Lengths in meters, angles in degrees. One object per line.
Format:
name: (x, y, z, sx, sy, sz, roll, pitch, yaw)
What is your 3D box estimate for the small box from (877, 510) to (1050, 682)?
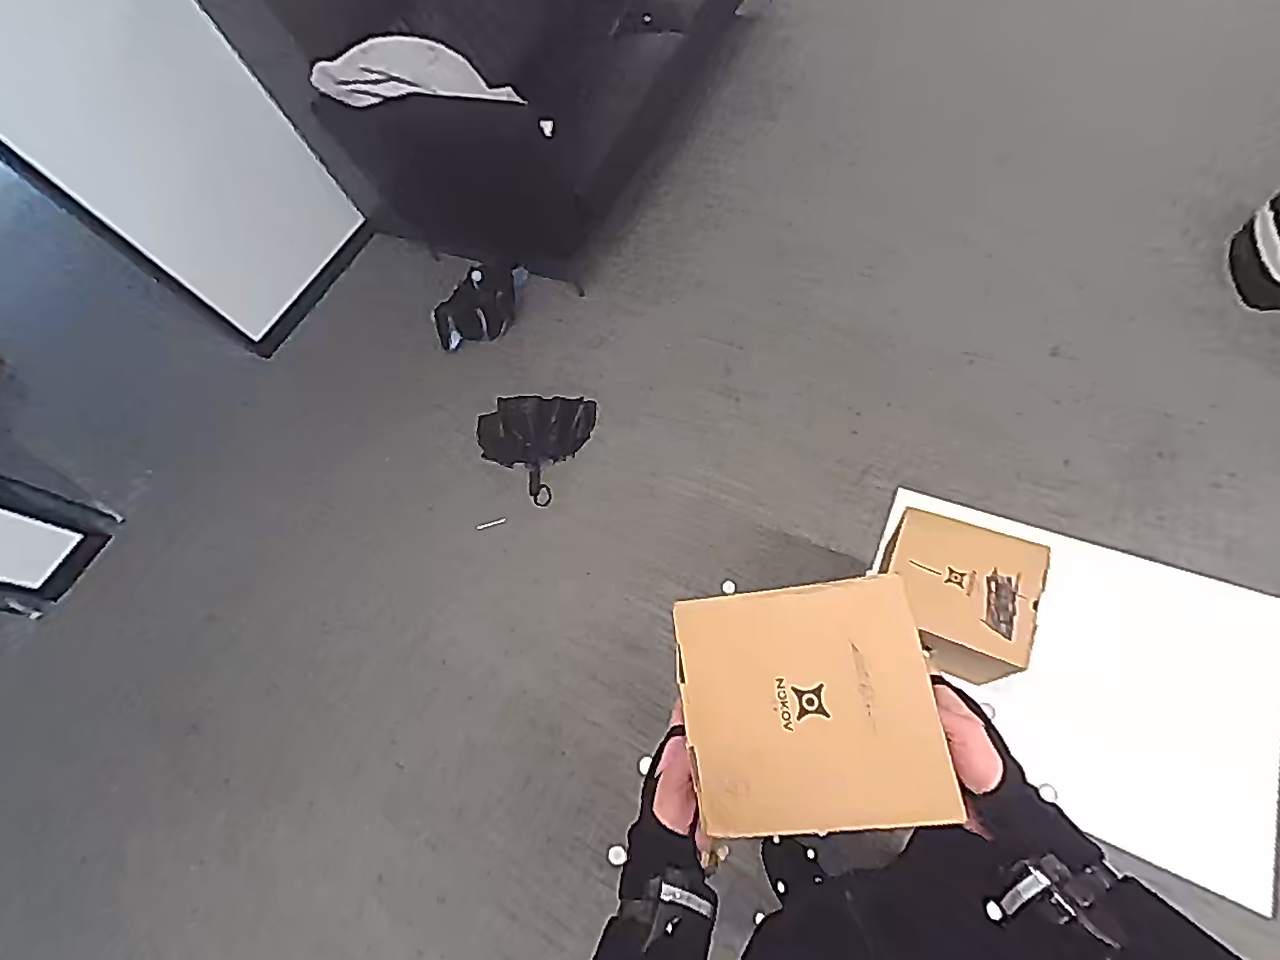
small box: (0.429, 0.170, 0.764, 0.179, 0.176, 0.168, 19, 69, 22)

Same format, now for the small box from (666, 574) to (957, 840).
small box: (0.131, 0.180, 0.464, 0.179, 0.176, 0.168, -11, 75, 9)
